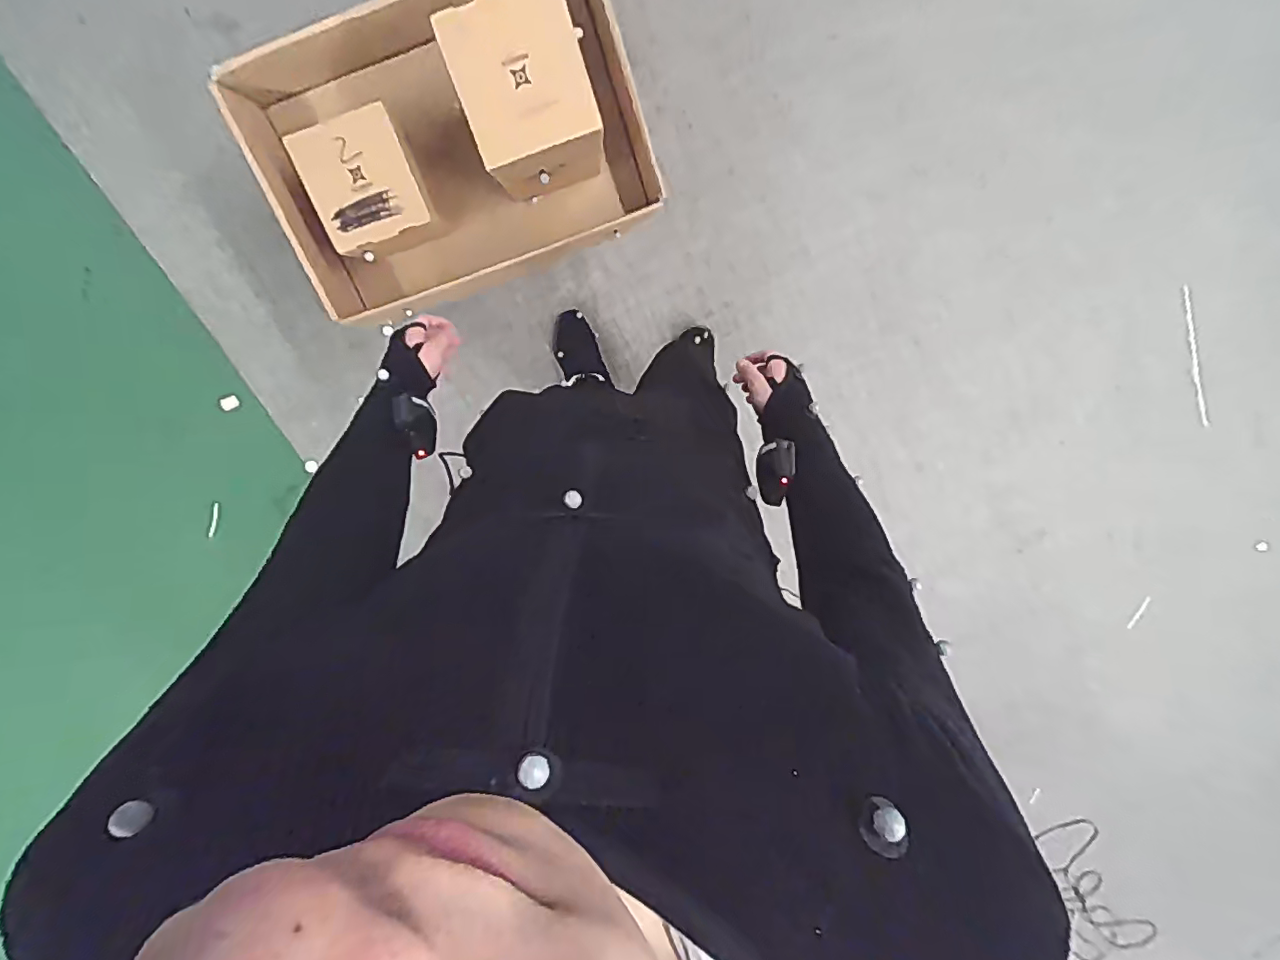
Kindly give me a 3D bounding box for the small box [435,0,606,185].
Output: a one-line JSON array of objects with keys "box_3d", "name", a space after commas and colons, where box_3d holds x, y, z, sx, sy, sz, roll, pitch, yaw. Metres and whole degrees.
[{"box_3d": [-0.153, -0.538, 0.749, 0.168, 0.176, 0.179, -18, 111, 3], "name": "small box"}]
